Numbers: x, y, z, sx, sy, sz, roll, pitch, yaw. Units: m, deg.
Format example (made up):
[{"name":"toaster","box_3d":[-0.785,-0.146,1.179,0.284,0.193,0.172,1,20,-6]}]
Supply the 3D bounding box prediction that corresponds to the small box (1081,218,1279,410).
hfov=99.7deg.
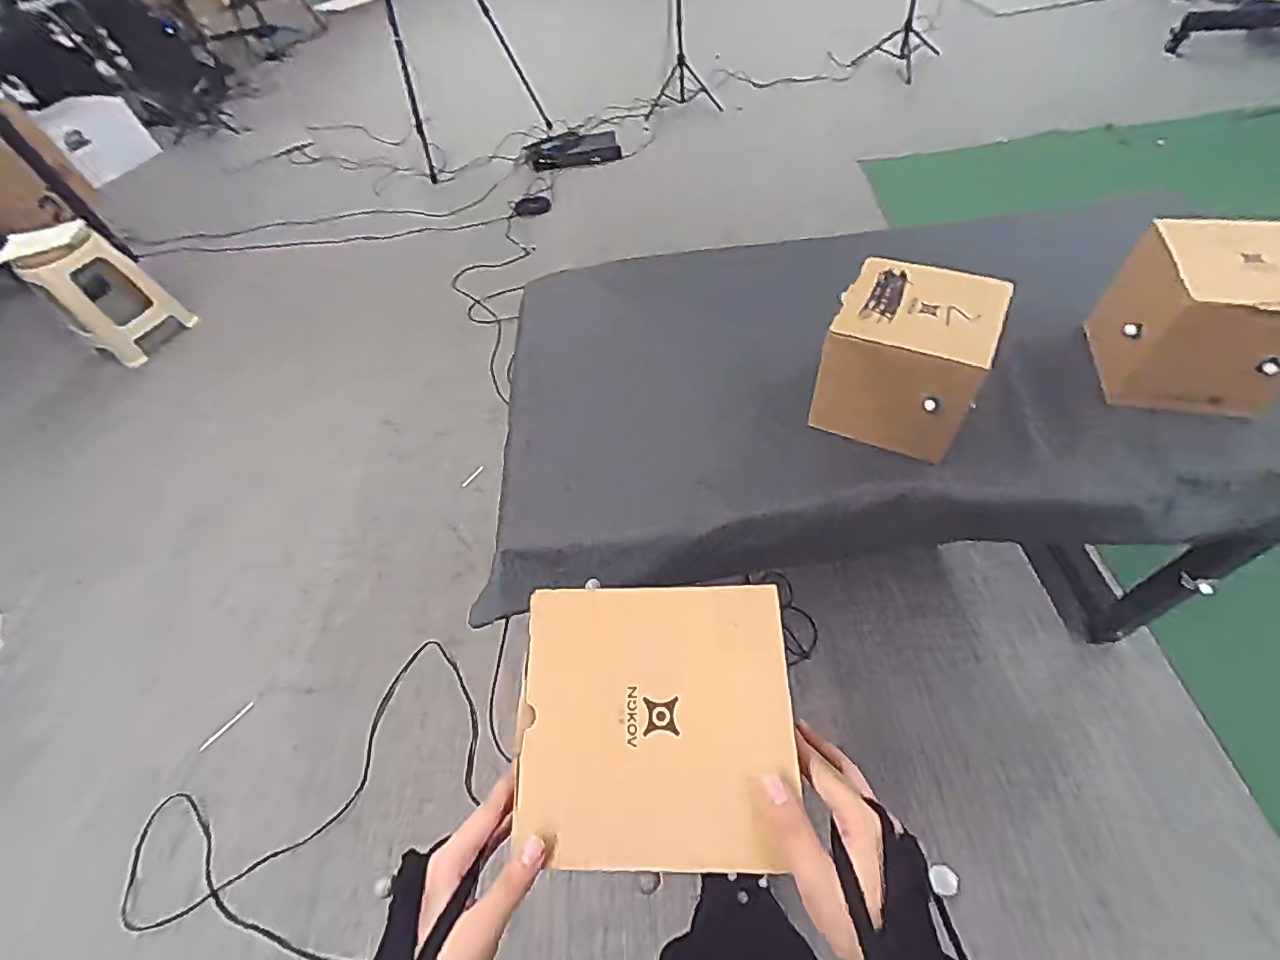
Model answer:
[{"name":"small box","box_3d":[0.714,-0.210,0.692,0.168,0.176,0.179,9,54,13]}]
